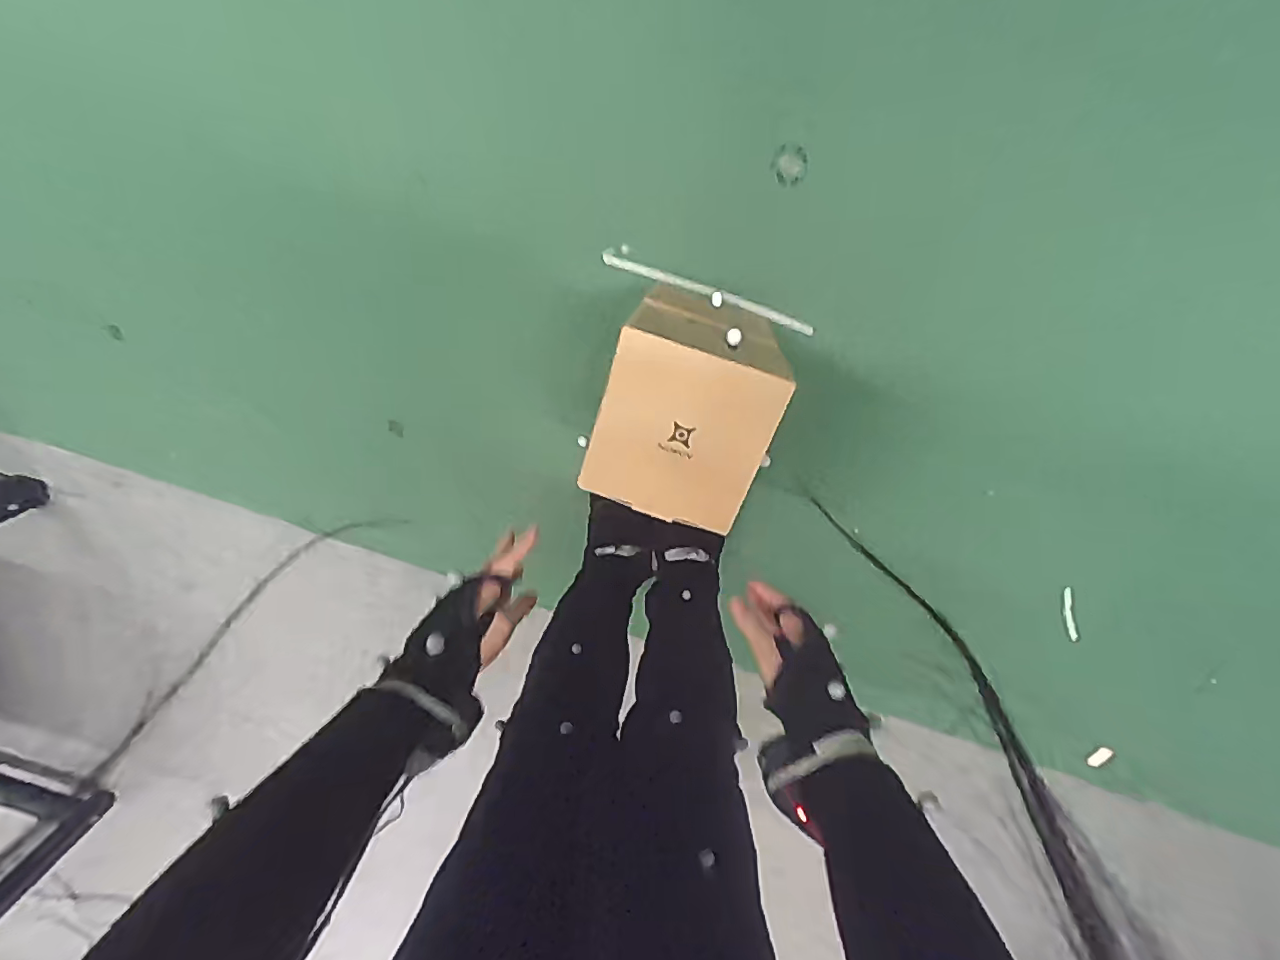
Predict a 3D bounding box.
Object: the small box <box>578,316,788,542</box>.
[{"bbox_3d":[0.043,-0.066,0.598,0.168,0.176,0.179,17,117,-1],"label":"small box"}]
